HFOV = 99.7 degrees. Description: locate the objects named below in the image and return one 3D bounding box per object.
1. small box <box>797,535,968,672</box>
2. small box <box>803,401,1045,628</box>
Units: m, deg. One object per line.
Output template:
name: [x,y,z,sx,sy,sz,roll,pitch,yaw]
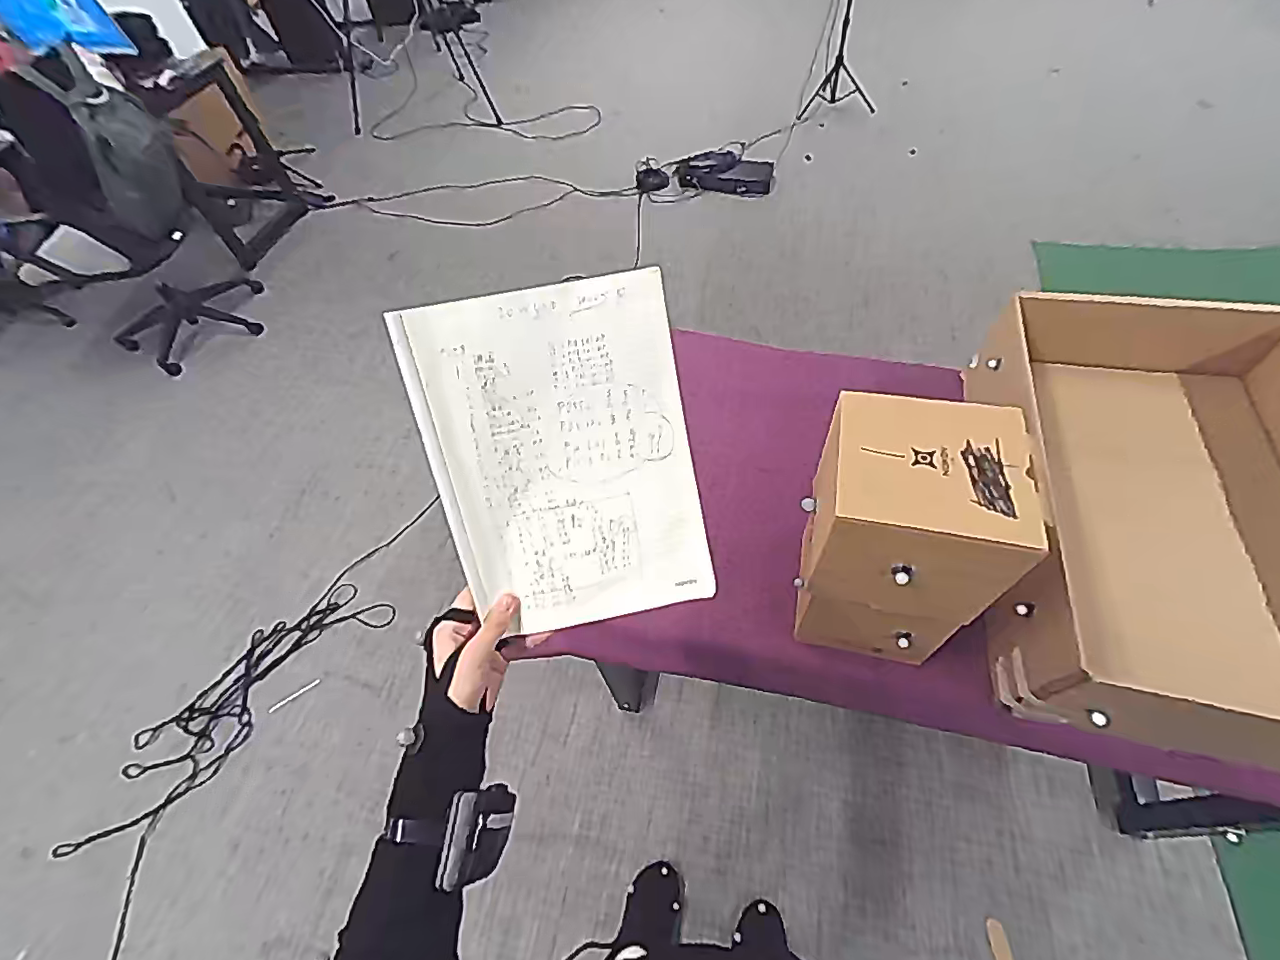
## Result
small box: [0.307,0.132,0.714,0.168,0.176,0.179,9,54,12]
small box: [0.284,0.041,0.579,0.179,0.176,0.168,9,54,13]
